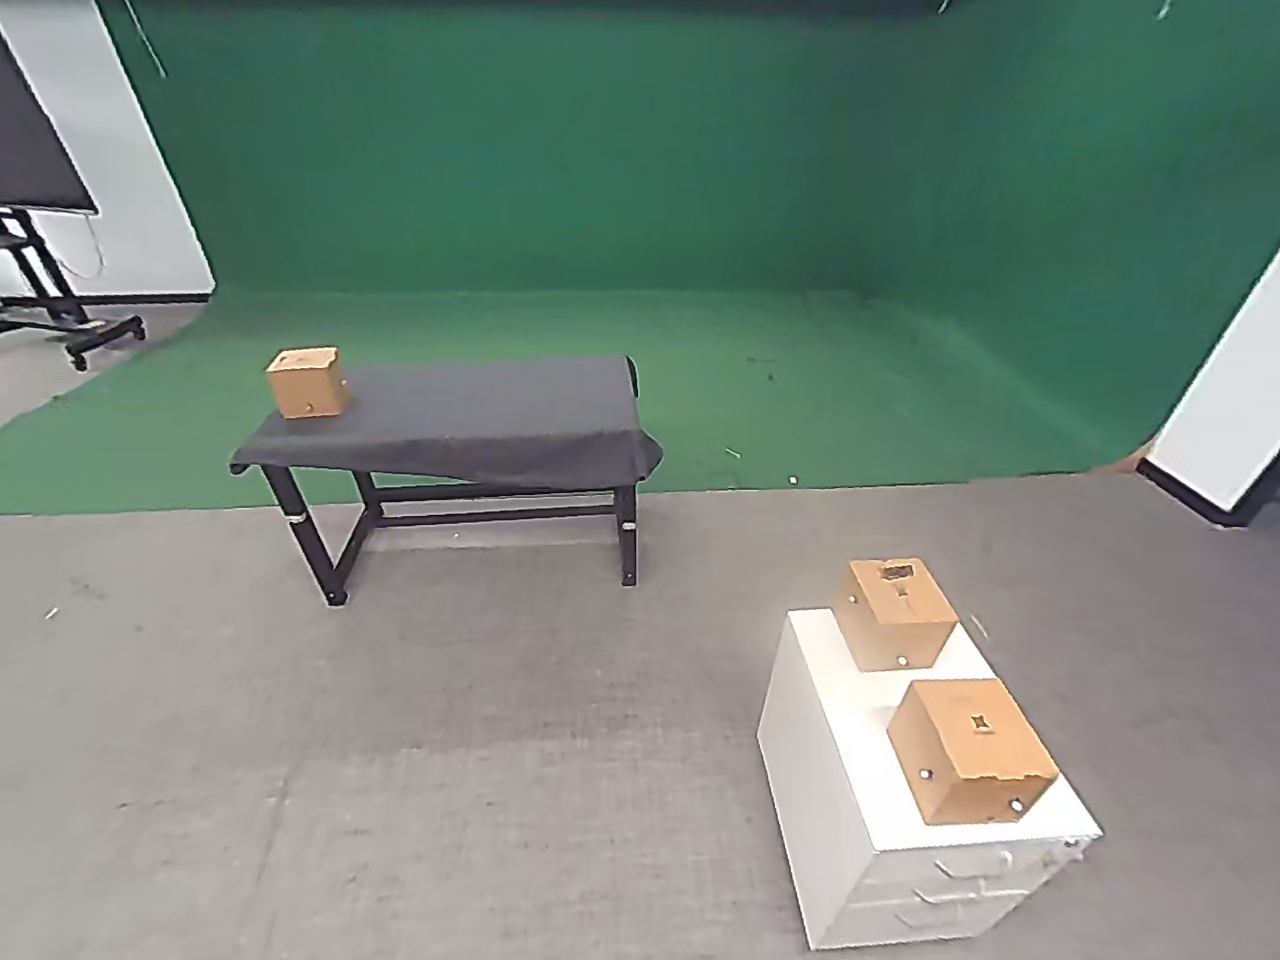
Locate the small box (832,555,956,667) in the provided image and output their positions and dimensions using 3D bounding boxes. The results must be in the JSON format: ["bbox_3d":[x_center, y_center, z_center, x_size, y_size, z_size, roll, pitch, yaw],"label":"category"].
[{"bbox_3d":[0.543,0.286,1.189,0.168,0.176,0.179,-2,39,-4],"label":"small box"}]

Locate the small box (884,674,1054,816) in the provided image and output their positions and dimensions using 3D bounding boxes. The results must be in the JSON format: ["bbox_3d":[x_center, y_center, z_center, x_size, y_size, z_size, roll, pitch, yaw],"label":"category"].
[{"bbox_3d":[0.561,0.468,0.951,0.168,0.176,0.179,0,35,-4],"label":"small box"}]

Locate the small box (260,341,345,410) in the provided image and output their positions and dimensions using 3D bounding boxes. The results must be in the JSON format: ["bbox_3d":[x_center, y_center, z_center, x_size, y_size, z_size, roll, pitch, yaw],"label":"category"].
[{"bbox_3d":[-1.085,-0.341,1.758,0.179,0.176,0.168,-5,36,-12],"label":"small box"}]
